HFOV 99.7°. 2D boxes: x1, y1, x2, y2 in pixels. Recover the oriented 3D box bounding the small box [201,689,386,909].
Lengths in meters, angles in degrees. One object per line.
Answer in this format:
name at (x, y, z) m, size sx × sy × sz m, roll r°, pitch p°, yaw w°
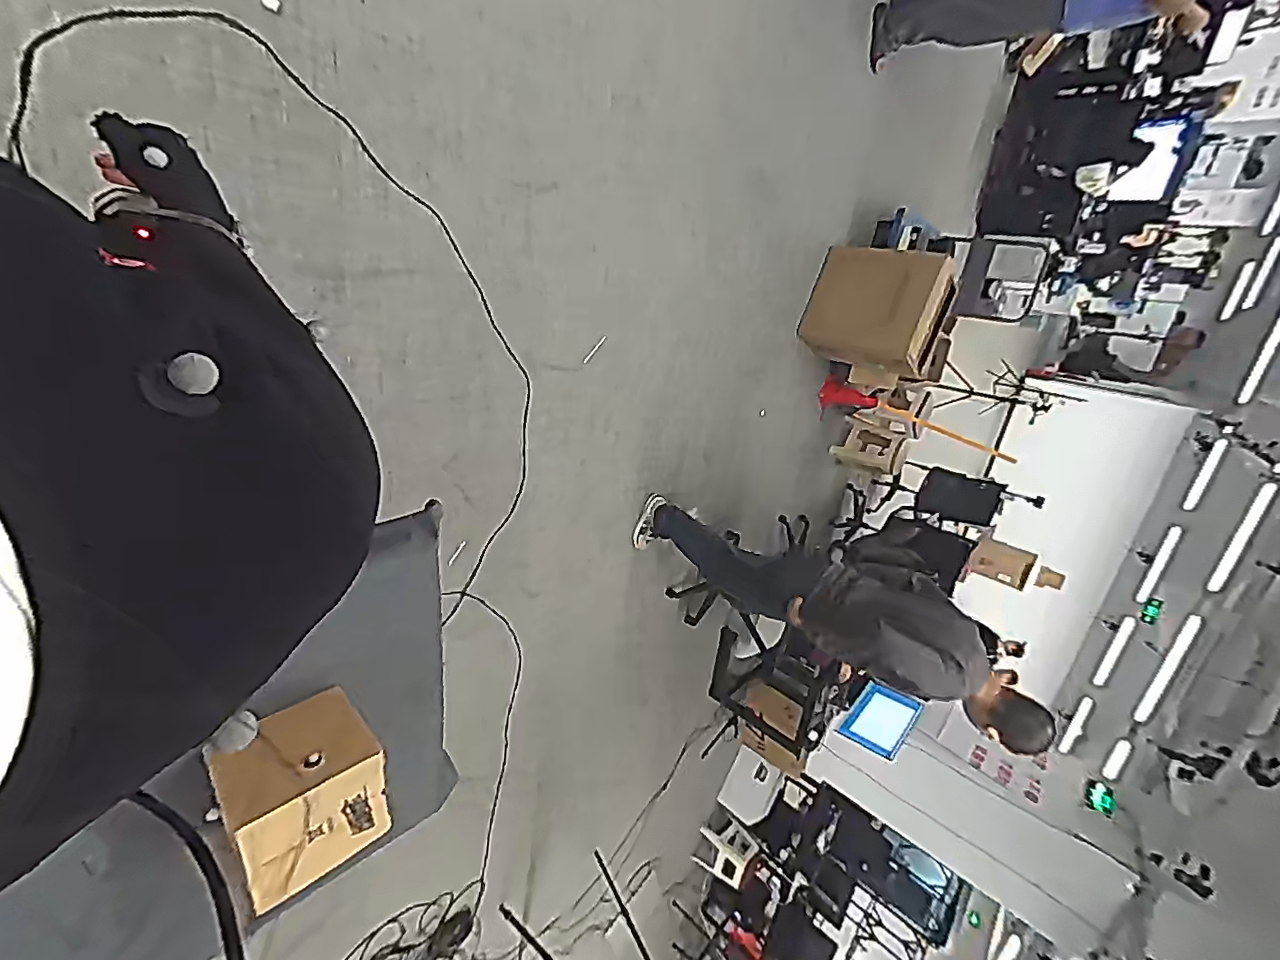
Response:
small box at (-0.495, 0.441, 0.781) m, size 0.179 × 0.176 × 0.168 m, roll -17°, pitch 122°, yaw -44°
